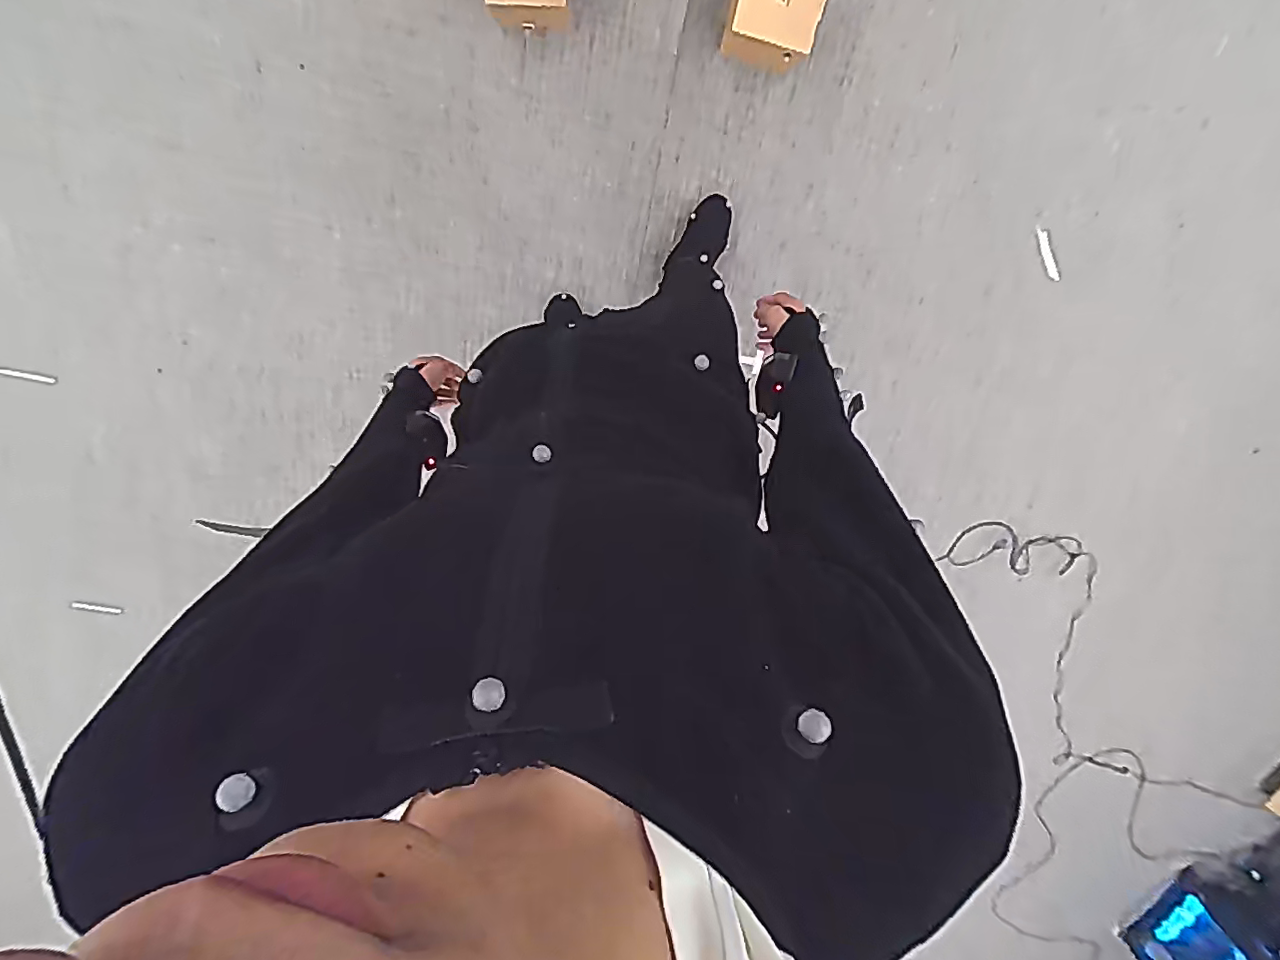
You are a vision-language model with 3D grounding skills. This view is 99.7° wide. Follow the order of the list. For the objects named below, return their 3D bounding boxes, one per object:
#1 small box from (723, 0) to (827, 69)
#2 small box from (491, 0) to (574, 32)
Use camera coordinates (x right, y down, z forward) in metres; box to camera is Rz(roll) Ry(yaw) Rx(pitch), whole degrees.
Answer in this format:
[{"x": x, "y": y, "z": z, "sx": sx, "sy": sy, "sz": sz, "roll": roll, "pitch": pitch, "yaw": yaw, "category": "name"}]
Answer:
[{"x": 0.290, "y": -1.013, "z": 1.154, "sx": 0.179, "sy": 0.176, "sz": 0.168, "roll": 11, "pitch": 113, "yaw": -7, "category": "small box"}, {"x": -0.227, "y": -1.066, "z": 1.115, "sx": 0.168, "sy": 0.176, "sz": 0.179, "roll": 1, "pitch": 114, "yaw": -1, "category": "small box"}]
